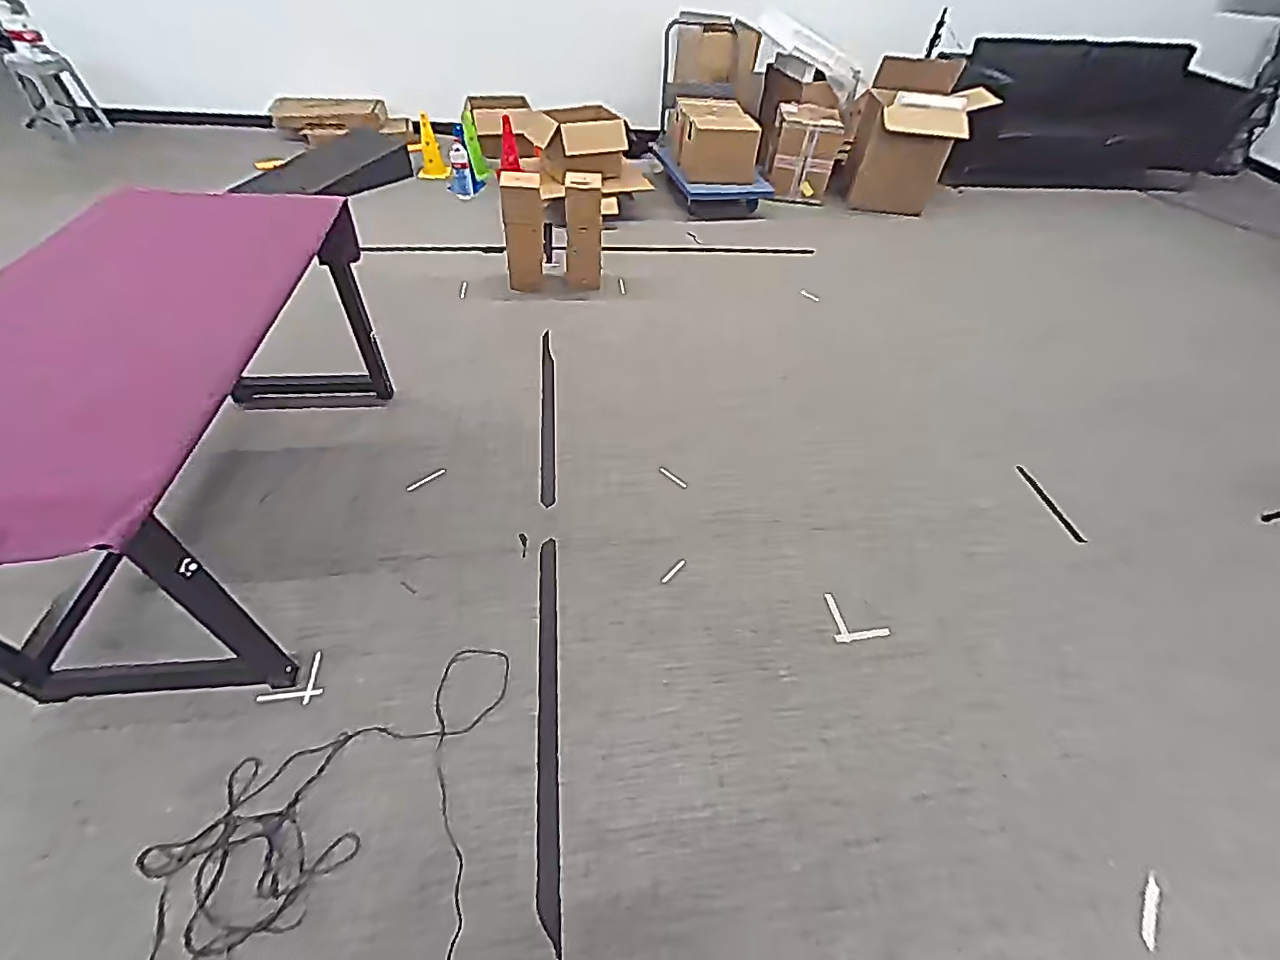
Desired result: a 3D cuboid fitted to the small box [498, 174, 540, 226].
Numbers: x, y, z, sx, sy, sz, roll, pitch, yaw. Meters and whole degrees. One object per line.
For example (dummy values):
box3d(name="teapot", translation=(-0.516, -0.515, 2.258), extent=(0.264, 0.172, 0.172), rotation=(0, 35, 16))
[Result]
box3d(name="small box", translation=(-0.553, -1.284, 2.483), extent=(0.179, 0.176, 0.168), rotation=(-1, 49, -10))

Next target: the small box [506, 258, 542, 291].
box3d(name="small box", translation=(-0.583, -1.071, 2.729), extent=(0.168, 0.176, 0.179), rotation=(-3, 48, -10))

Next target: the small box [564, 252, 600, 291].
box3d(name="small box", translation=(-0.296, -1.093, 2.779), extent=(0.179, 0.176, 0.168), rotation=(2, 48, -6))

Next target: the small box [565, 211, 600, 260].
box3d(name="small box", translation=(-0.279, -1.198, 2.652), extent=(0.168, 0.176, 0.179), rotation=(0, 48, -6))

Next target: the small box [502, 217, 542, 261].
box3d(name="small box", translation=(-0.565, -1.173, 2.604), extent=(0.179, 0.176, 0.168), rotation=(-2, 49, -9))
